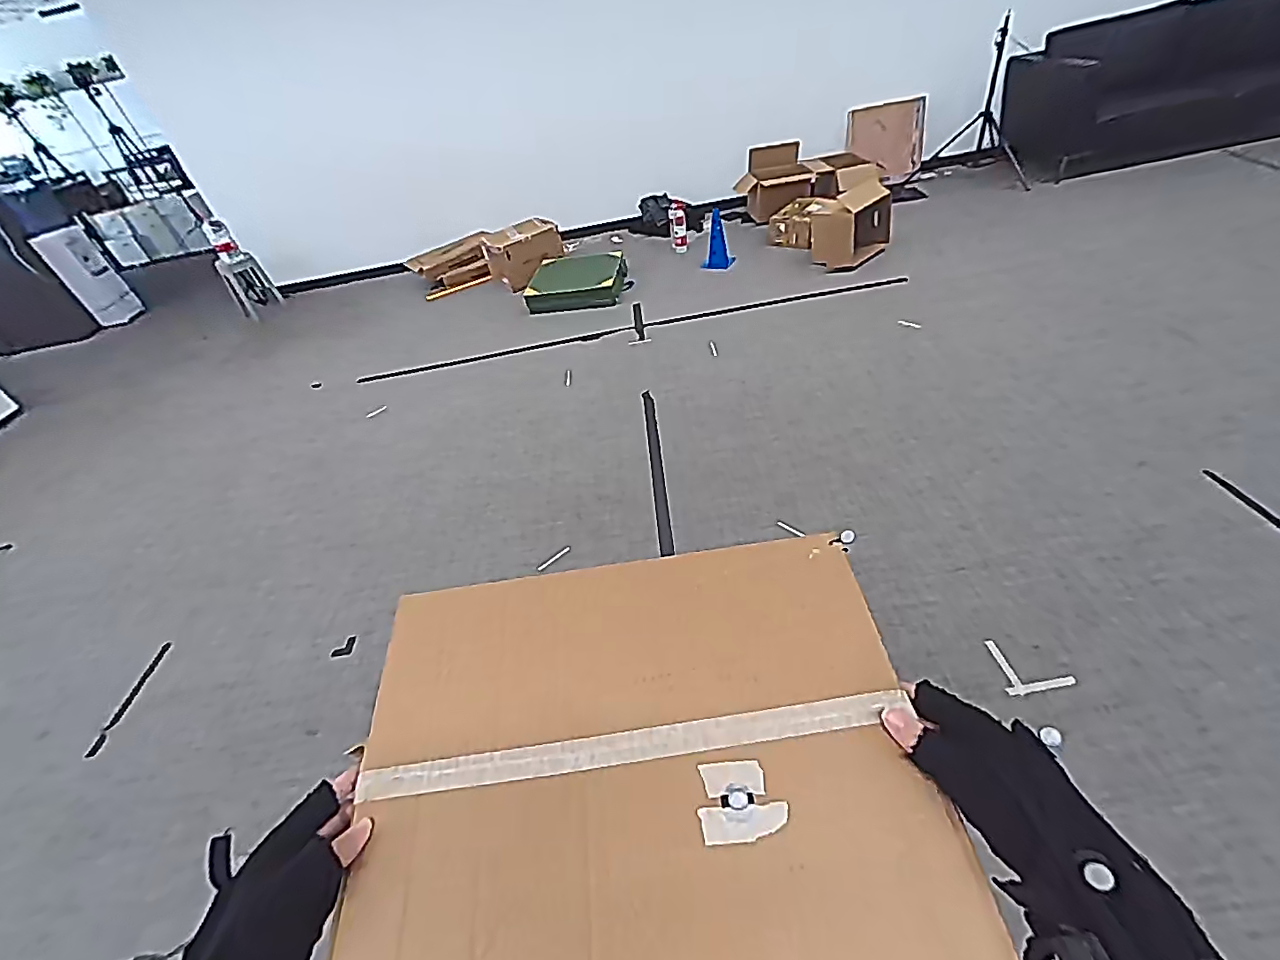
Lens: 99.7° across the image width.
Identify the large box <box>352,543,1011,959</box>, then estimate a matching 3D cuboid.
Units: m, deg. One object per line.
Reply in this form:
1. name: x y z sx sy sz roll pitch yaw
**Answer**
1. large box: 0.016 0.300 0.517 0.408 0.320 0.320 -9 49 0
